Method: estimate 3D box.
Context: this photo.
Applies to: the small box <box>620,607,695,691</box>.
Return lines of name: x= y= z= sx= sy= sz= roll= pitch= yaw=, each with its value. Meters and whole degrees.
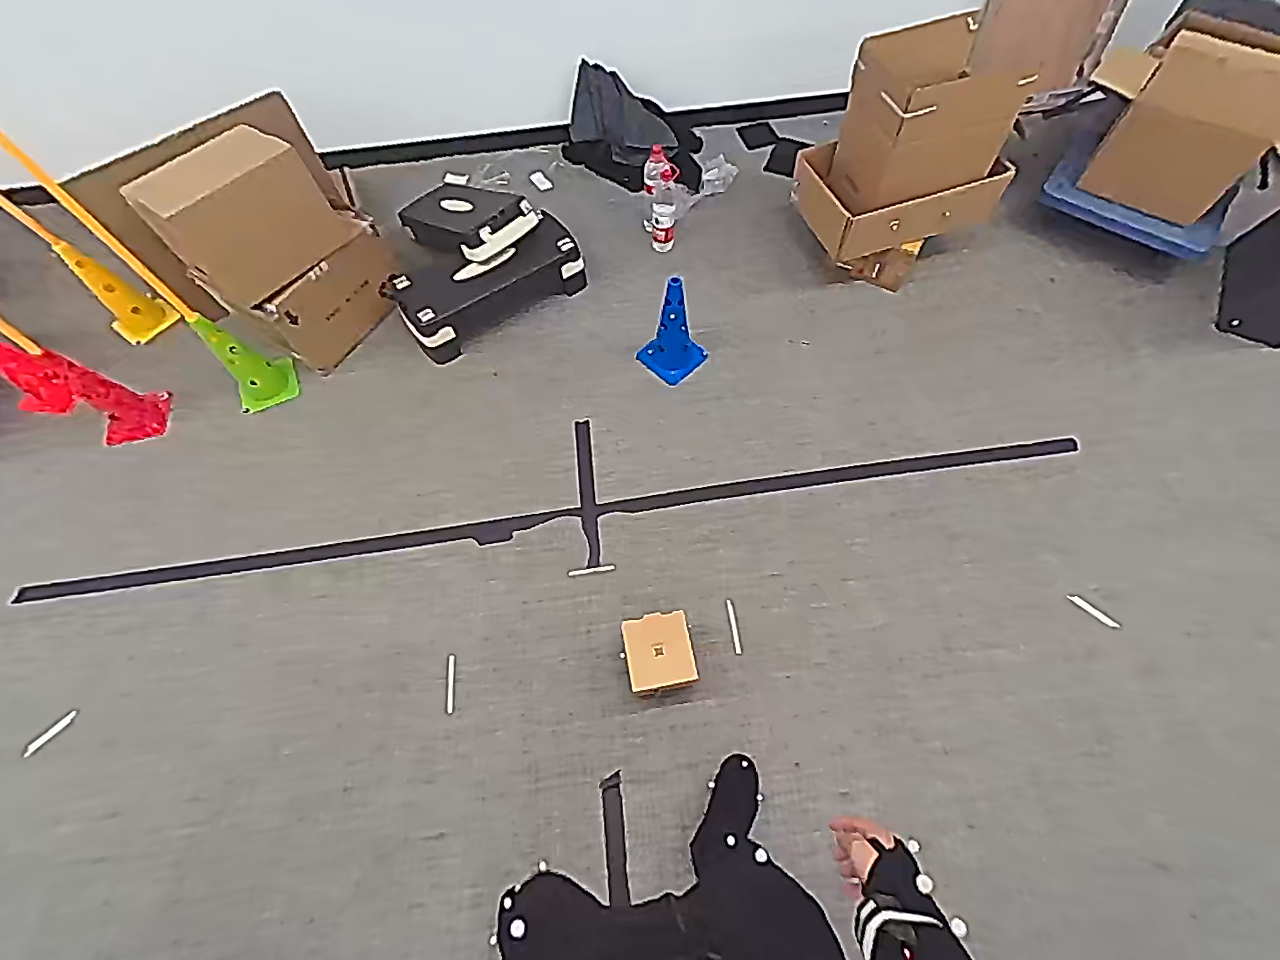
small box: x=0.046 y=0.450 z=1.425 sx=0.168 sy=0.176 sz=0.179 roll=-10 pitch=64 yaw=-3
